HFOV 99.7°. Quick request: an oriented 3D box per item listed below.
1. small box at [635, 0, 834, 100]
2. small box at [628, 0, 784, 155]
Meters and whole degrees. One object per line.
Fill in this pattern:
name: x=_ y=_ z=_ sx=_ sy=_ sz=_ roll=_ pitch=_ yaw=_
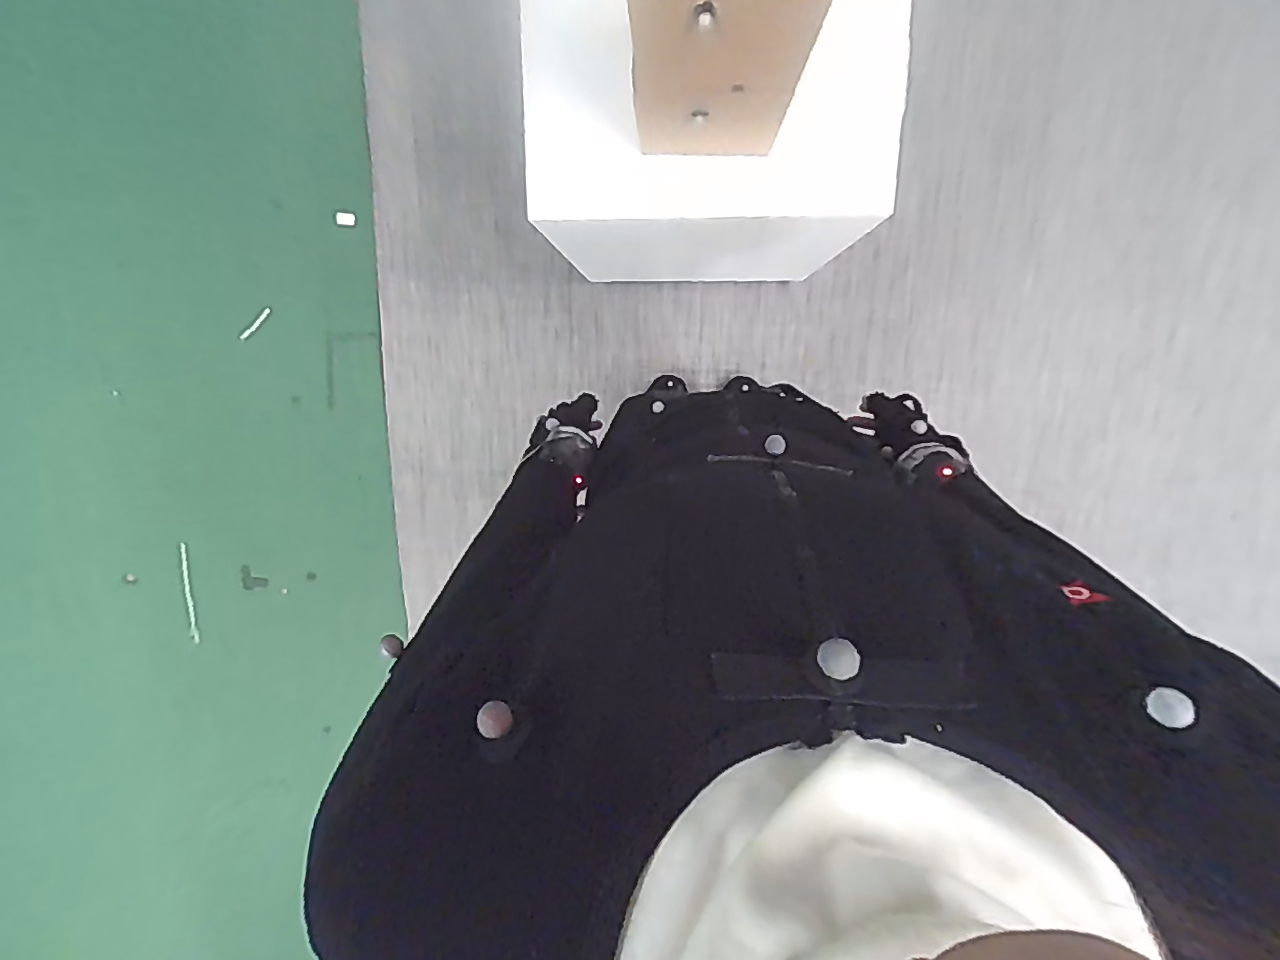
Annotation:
small box: x=0.079 y=-0.483 z=0.489 sx=0.168 sy=0.176 sz=0.179 roll=1 pitch=102 yaw=2
small box: x=0.083 y=-0.511 z=0.647 sx=0.179 sy=0.176 sz=0.168 roll=3 pitch=101 yaw=3
